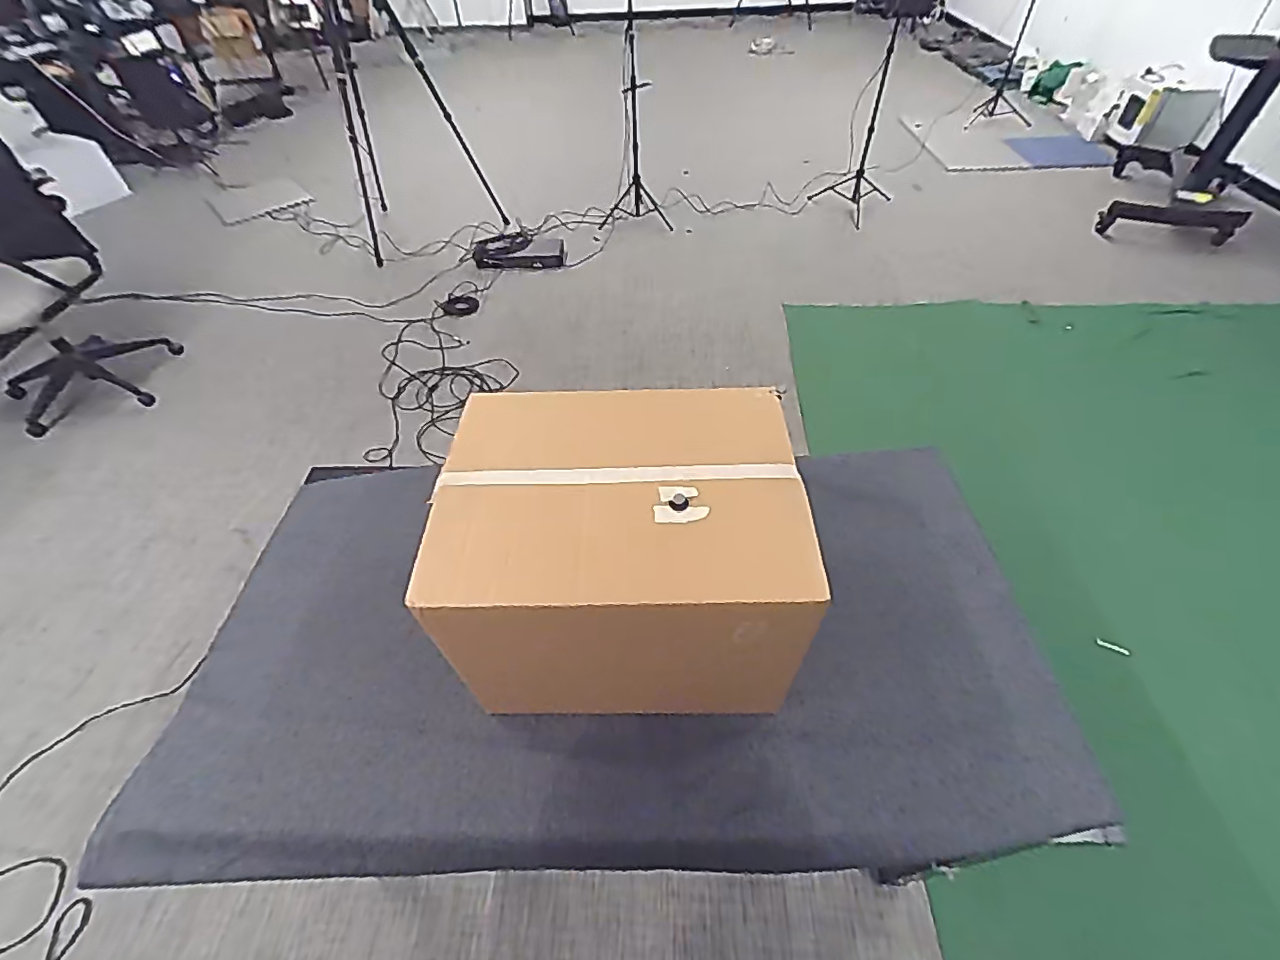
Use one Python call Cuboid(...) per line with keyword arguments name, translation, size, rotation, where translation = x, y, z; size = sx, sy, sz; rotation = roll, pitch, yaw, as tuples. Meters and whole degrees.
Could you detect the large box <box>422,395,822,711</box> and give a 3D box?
Cuboid(name="large box", translation=(-0.019, 0.103, 0.736), size=(0.408, 0.320, 0.320), rotation=(-1, 50, 1))
